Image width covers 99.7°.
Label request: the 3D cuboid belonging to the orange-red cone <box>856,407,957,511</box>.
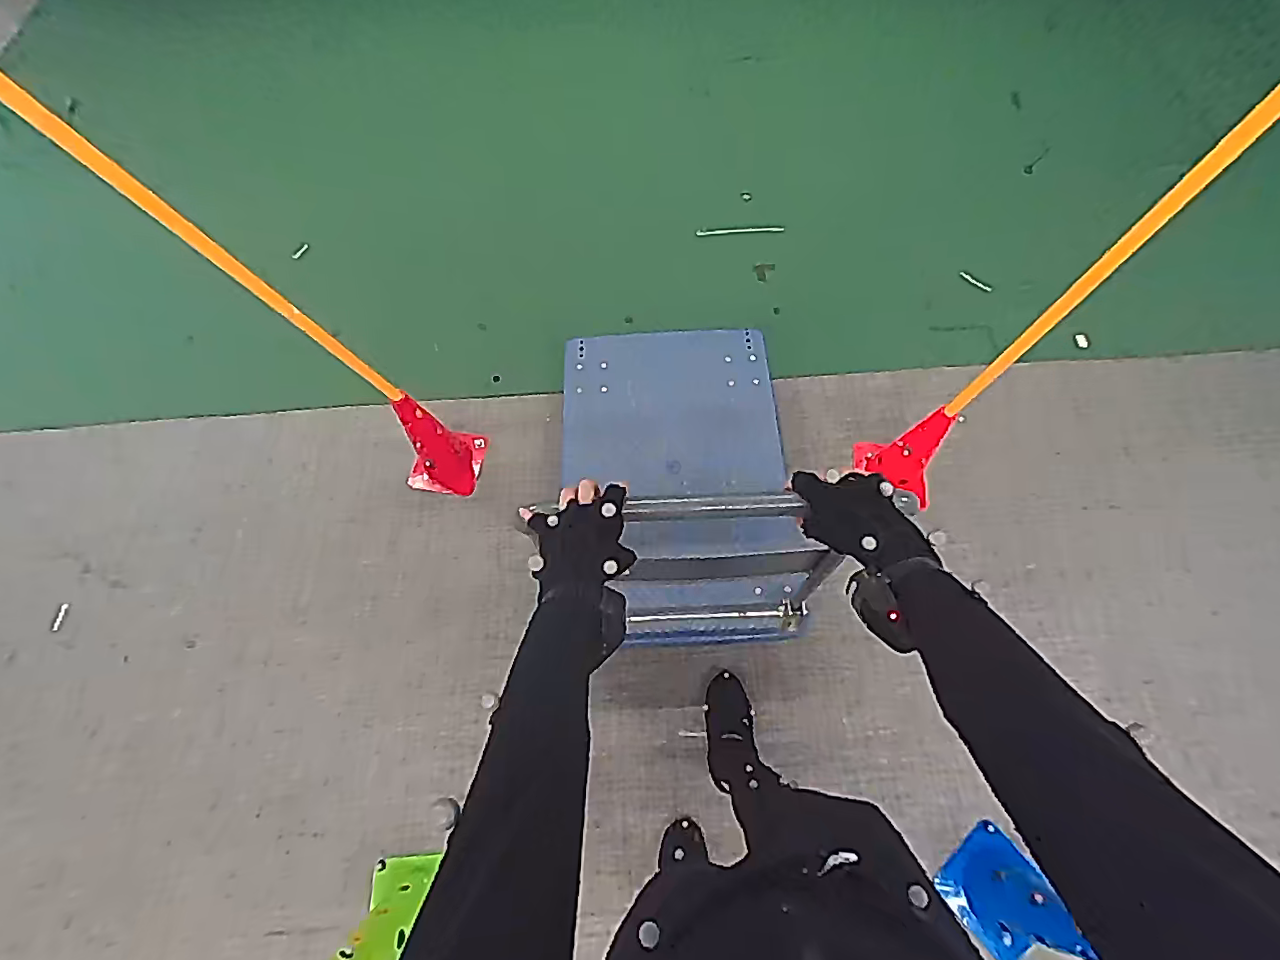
[{"bbox_3d":[0.718,-0.078,1.401,0.198,0.360,0.199,6,67,5],"label":"orange-red cone"}]
